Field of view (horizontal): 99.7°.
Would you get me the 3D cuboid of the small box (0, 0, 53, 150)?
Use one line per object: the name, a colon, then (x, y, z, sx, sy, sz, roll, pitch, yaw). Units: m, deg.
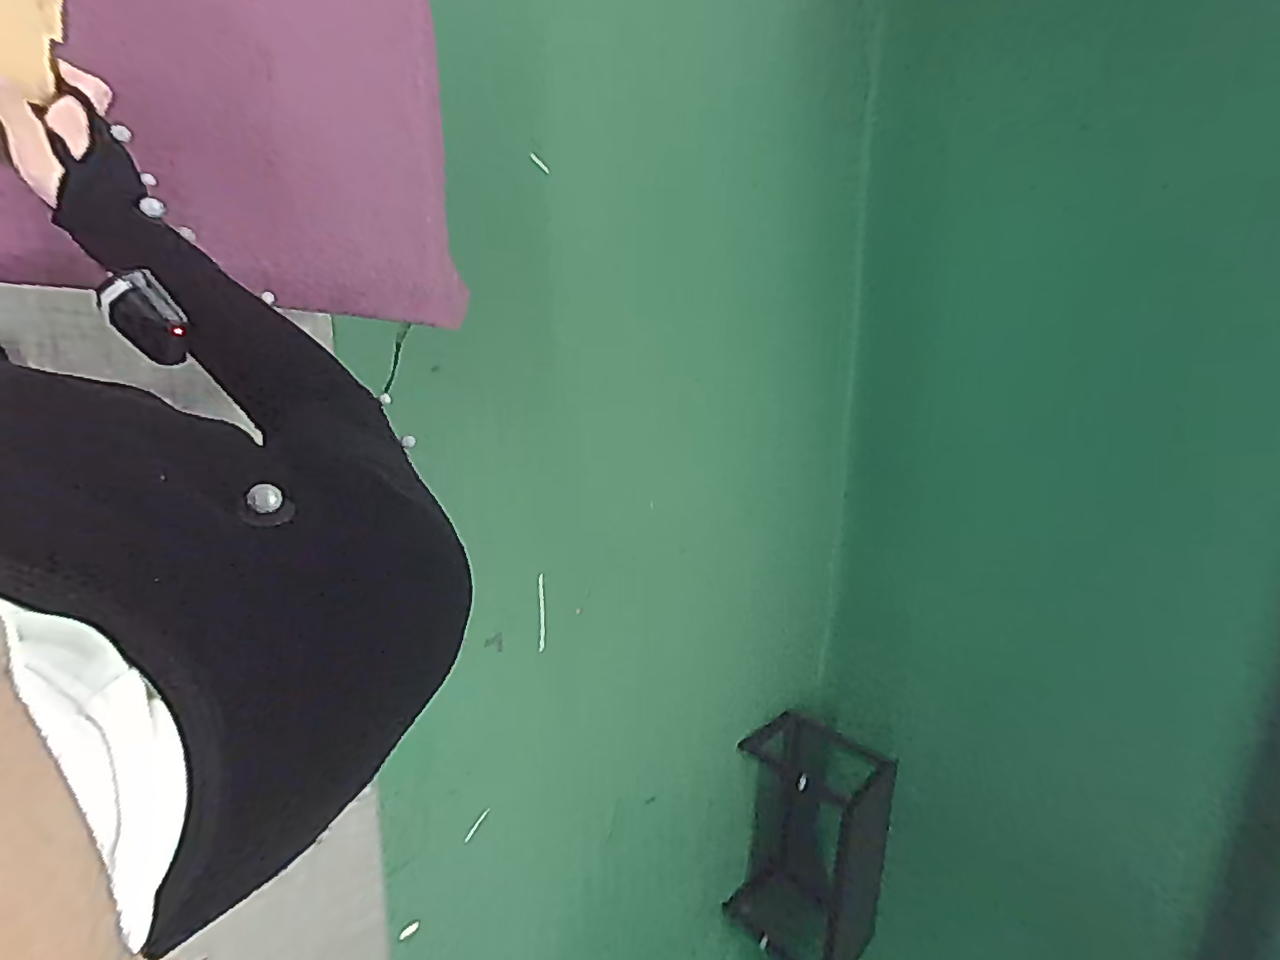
small box: (-0.606, -0.395, 0.428, 0.179, 0.176, 0.168, -4, 96, -51)
